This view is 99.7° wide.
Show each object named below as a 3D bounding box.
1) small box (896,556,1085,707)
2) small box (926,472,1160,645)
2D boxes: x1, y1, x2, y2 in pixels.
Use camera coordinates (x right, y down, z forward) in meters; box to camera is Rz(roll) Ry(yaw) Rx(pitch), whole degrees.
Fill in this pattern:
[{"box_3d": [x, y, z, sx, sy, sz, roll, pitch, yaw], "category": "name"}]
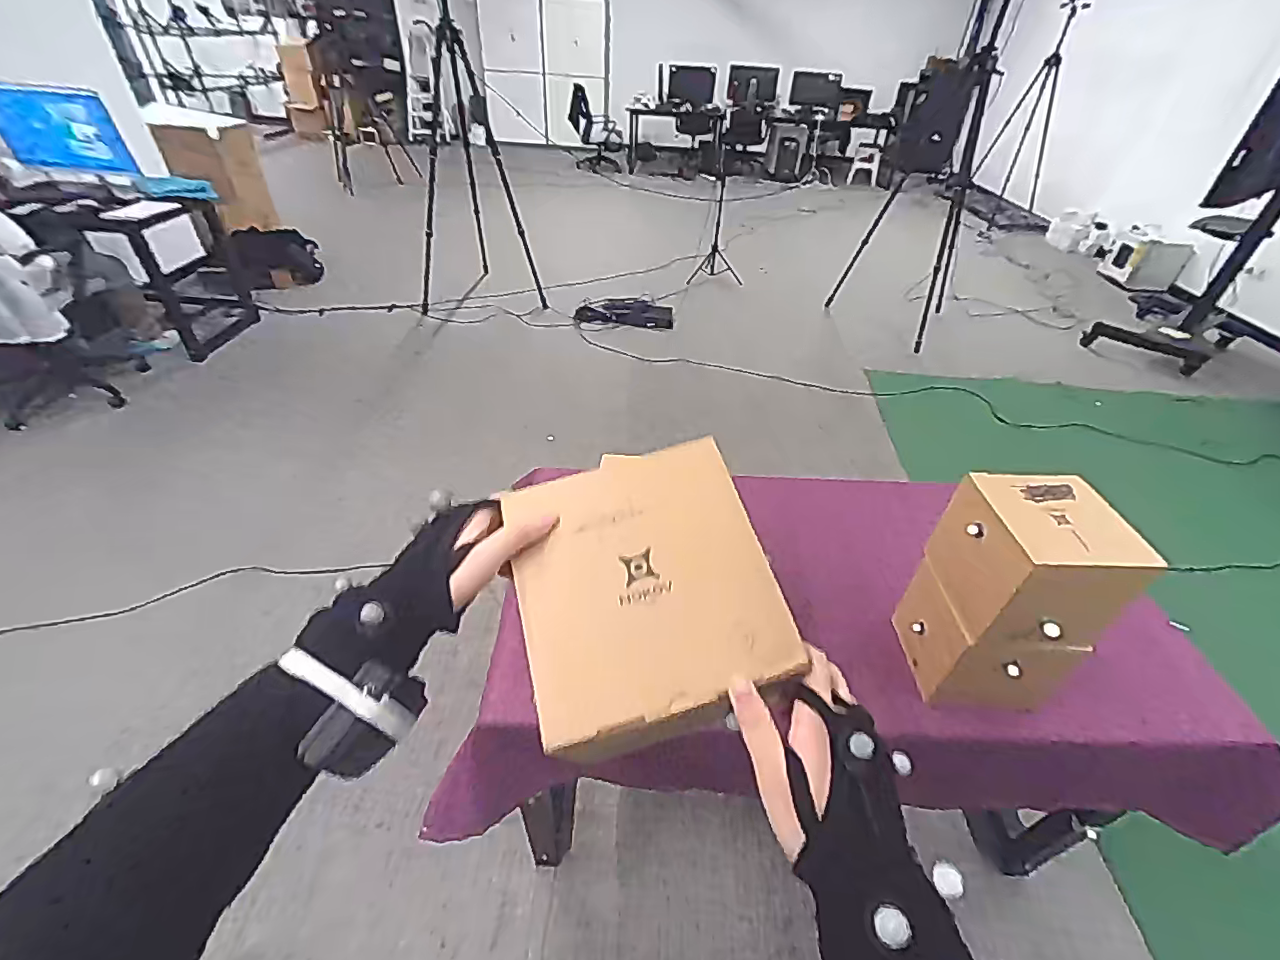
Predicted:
[{"box_3d": [0.530, 0.240, 0.856, 0.179, 0.176, 0.168, 3, 40, 0], "category": "small box"}, {"box_3d": [0.537, 0.108, 0.758, 0.168, 0.176, 0.179, 1, 40, -2], "category": "small box"}]
